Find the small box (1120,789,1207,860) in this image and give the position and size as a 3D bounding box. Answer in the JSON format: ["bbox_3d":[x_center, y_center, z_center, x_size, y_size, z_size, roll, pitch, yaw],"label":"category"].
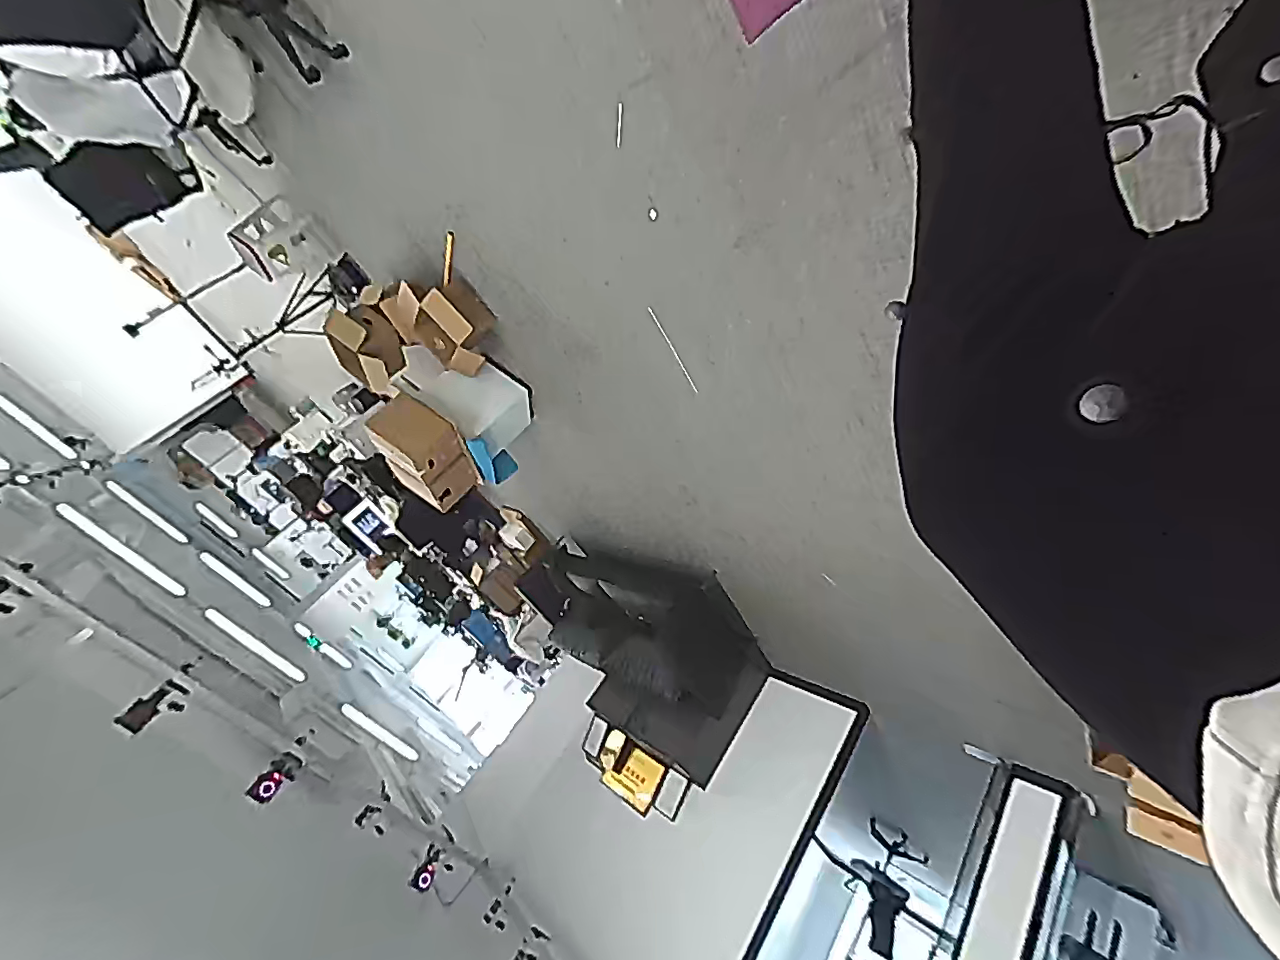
[{"bbox_3d":[1.475,0.904,1.517,0.168,0.176,0.179,8,137,48],"label":"small box"}]

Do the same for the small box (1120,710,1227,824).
[{"bbox_3d":[1.365,0.727,1.385,0.168,0.176,0.179,14,144,43],"label":"small box"}]
